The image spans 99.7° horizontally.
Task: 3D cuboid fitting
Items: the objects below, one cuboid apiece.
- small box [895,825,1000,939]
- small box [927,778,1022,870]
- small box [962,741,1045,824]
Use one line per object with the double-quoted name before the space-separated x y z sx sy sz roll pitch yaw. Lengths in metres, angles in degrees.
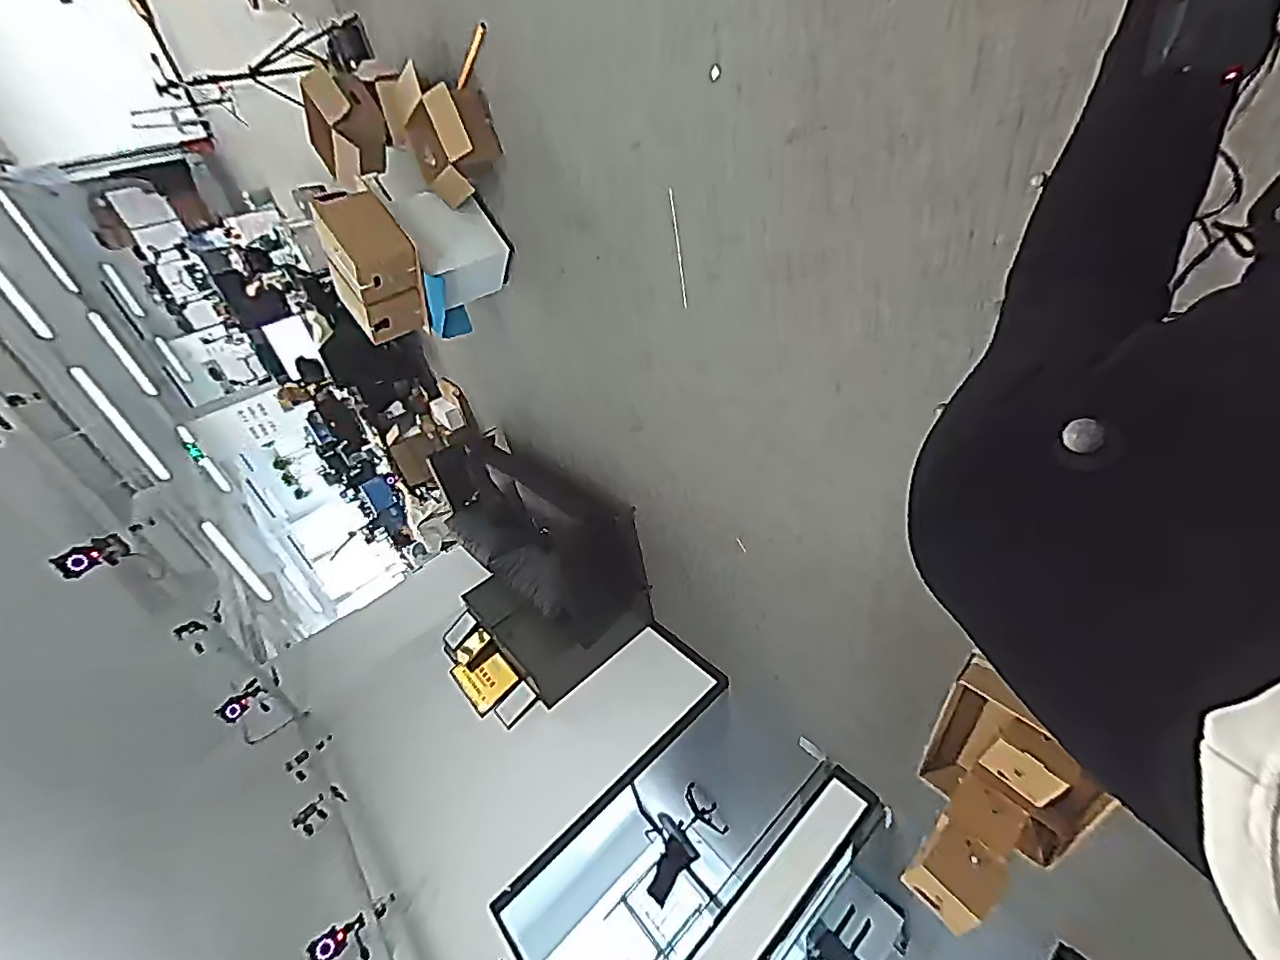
"small box" 0.834 1.087 1.468 0.168 0.176 0.179 38 144 34
"small box" 0.954 1.006 1.546 0.168 0.176 0.179 31 140 42
"small box" 1.076 0.934 1.625 0.168 0.176 0.179 30 140 40
